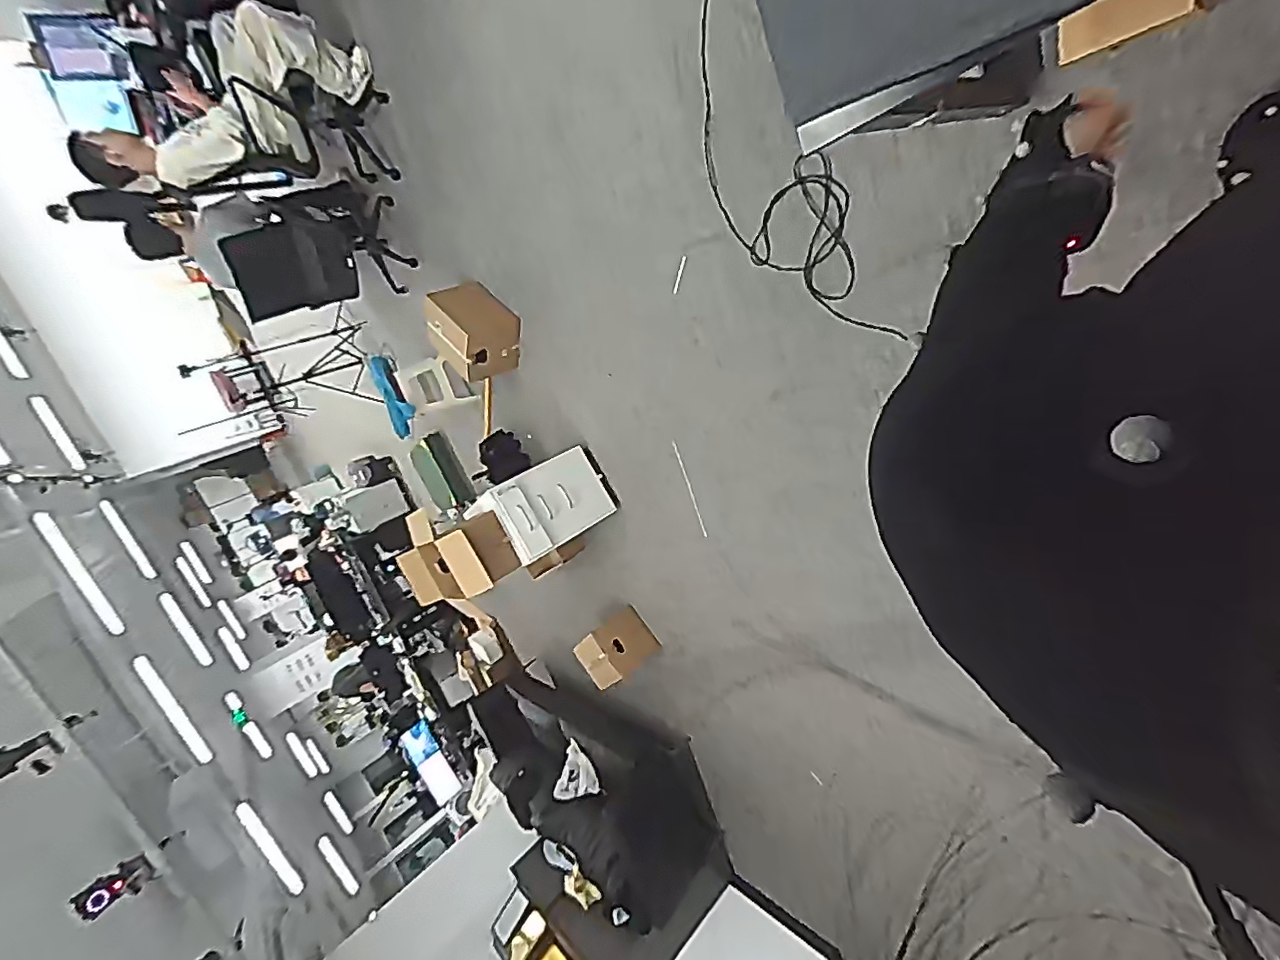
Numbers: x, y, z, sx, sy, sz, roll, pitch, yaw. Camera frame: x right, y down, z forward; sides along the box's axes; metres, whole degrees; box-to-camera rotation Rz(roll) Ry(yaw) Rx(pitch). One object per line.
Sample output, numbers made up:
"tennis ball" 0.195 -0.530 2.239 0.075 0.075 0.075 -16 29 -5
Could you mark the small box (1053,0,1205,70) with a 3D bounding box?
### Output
"small box" 0.803 -0.813 0.887 0.168 0.176 0.179 6 119 50
